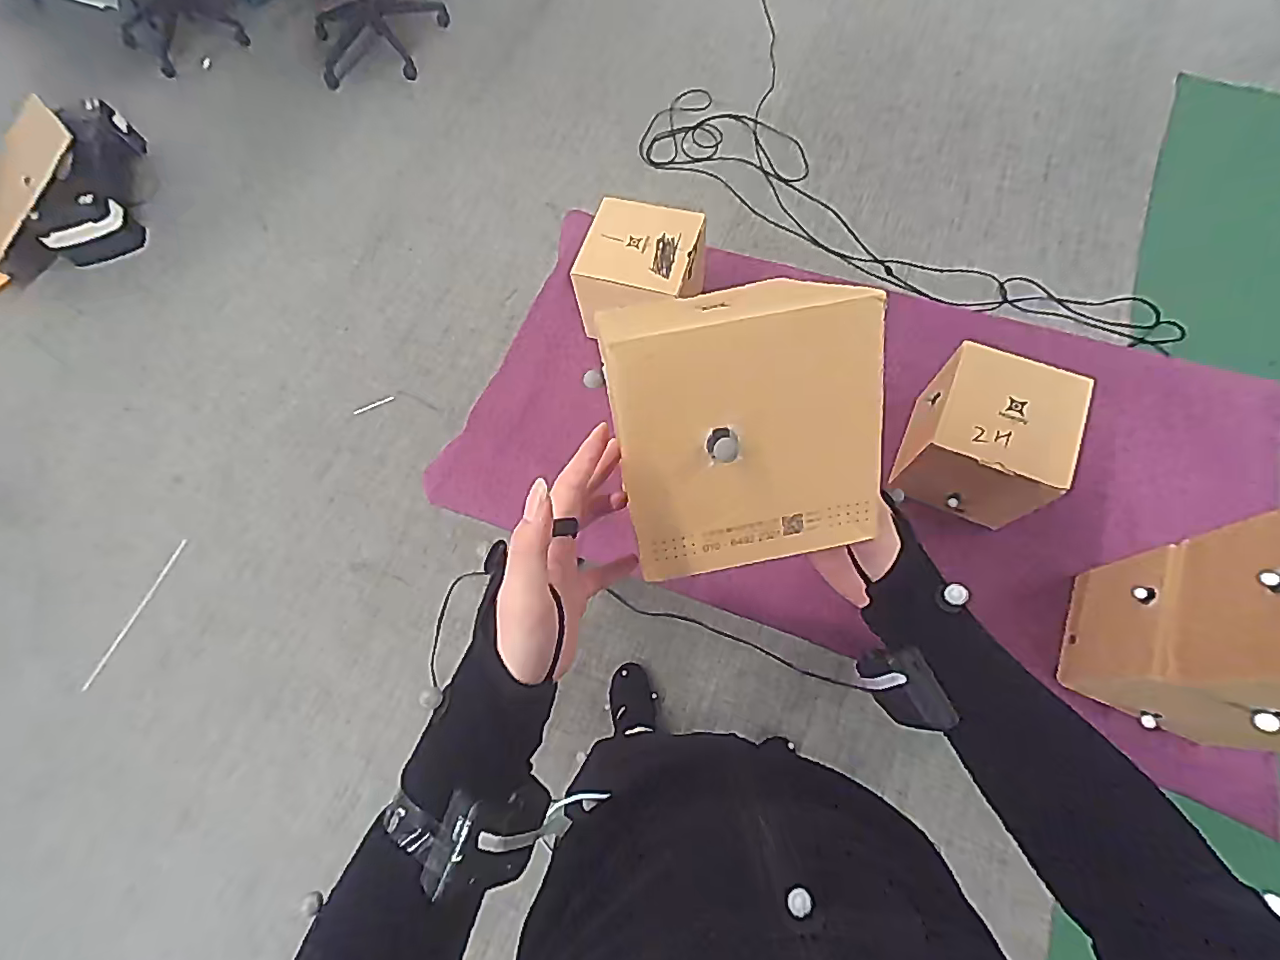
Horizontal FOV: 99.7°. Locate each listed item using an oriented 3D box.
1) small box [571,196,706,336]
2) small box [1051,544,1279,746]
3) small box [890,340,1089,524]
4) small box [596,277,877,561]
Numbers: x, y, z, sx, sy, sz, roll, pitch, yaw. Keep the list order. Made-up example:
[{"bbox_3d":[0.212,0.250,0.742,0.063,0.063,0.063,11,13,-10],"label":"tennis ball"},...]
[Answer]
[{"bbox_3d":[0.005,-0.342,0.920,0.179,0.176,0.168,16,71,11],"label":"small box"},{"bbox_3d":[0.660,0.203,0.662,0.179,0.176,0.168,23,71,13],"label":"small box"},{"bbox_3d":[0.487,-0.062,0.778,0.168,0.176,0.179,23,73,13],"label":"small box"},{"bbox_3d":[0.064,-0.050,0.417,0.168,0.179,0.176,-11,113,-3],"label":"small box"}]
